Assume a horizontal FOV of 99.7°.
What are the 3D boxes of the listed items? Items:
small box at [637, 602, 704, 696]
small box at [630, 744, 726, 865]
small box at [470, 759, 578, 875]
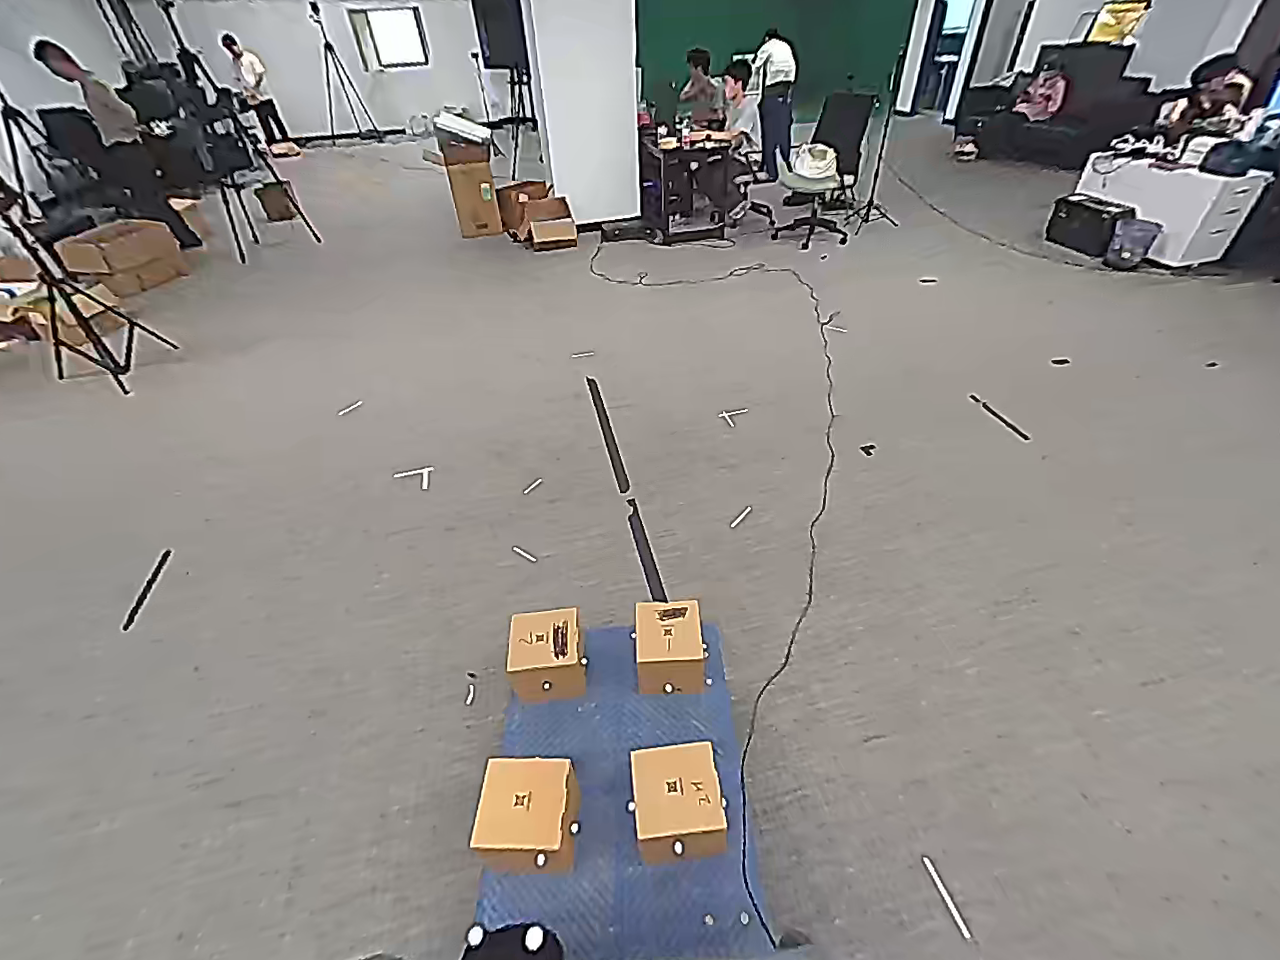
[{"bbox_3d":[0.076,0.442,1.416,0.168,0.176,0.179,-3,41,1],"label":"small box"},{"bbox_3d":[0.077,0.682,1.134,0.179,0.176,0.168,-6,40,-2],"label":"small box"},{"bbox_3d":[-0.232,0.706,1.130,0.179,0.176,0.168,0,40,1],"label":"small box"}]
